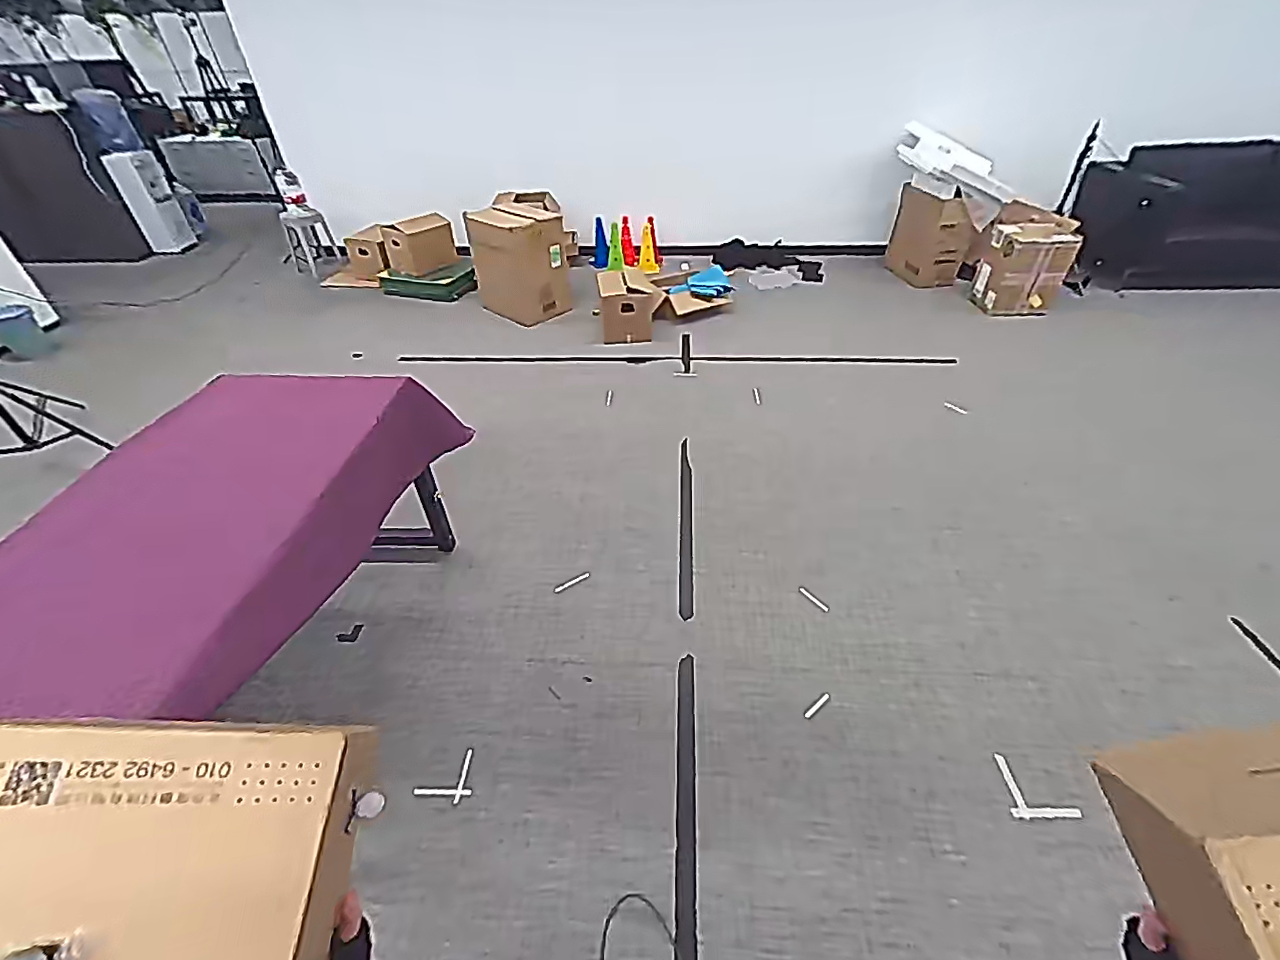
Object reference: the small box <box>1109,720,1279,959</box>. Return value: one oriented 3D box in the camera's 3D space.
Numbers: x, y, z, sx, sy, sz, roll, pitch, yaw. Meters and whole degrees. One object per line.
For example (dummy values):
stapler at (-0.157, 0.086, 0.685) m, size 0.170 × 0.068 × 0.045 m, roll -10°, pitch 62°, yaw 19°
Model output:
small box at (0.371, 0.215, 0.251) m, size 0.168 × 0.179 × 0.176 m, roll -20°, pitch 70°, yaw 21°

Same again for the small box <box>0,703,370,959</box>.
small box at (-0.236, 0.197, 0.248) m, size 0.168 × 0.179 × 0.176 m, roll 11°, pitch 64°, yaw -17°
